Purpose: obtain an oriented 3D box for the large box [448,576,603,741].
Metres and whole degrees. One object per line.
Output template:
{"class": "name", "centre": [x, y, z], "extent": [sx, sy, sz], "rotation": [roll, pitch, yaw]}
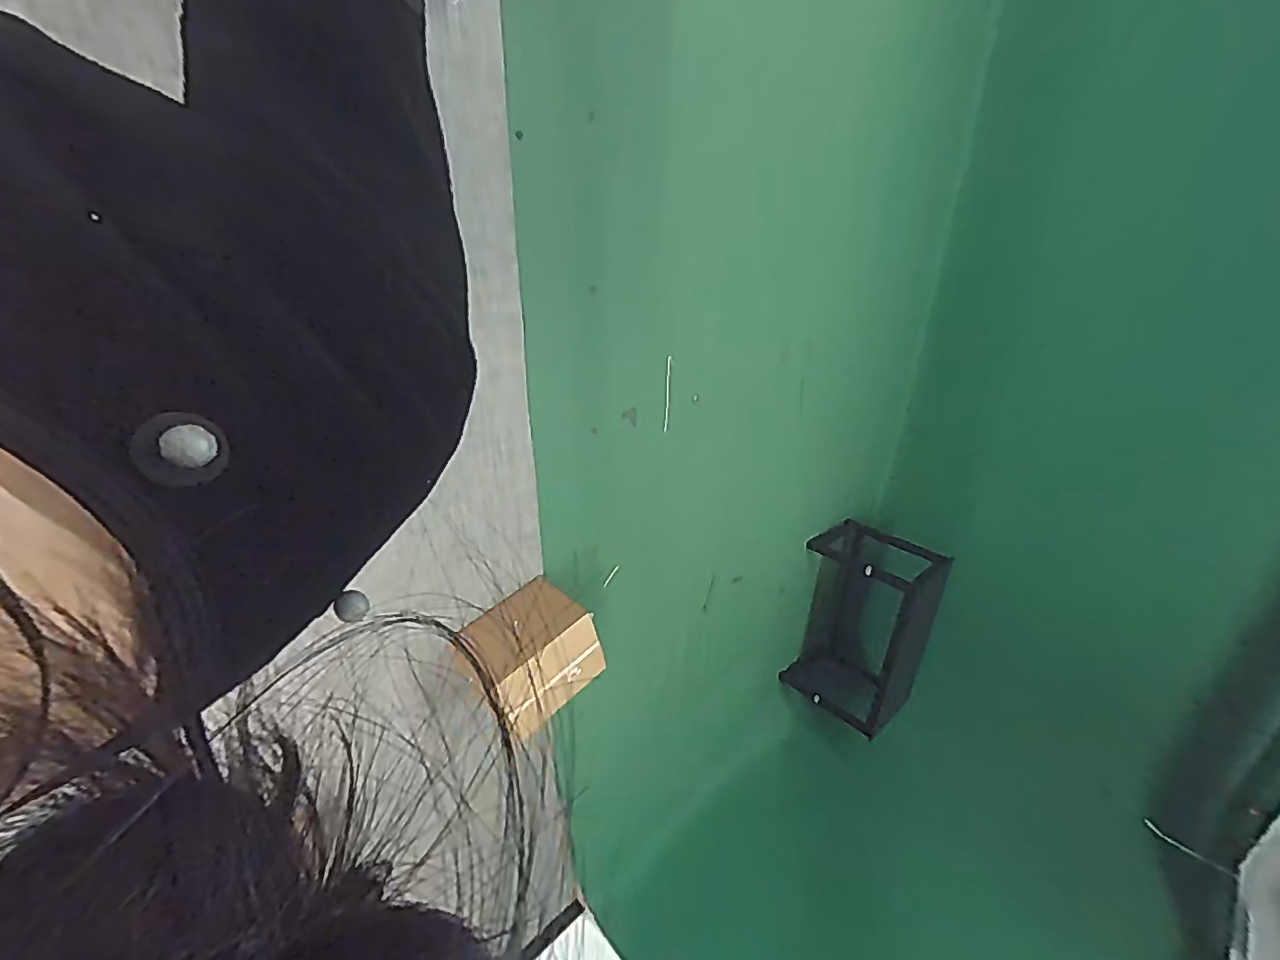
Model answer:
{"class": "large box", "centre": [-0.407, 0.629, 1.959], "extent": [0.408, 0.320, 0.320], "rotation": [-35, 131, -31]}
